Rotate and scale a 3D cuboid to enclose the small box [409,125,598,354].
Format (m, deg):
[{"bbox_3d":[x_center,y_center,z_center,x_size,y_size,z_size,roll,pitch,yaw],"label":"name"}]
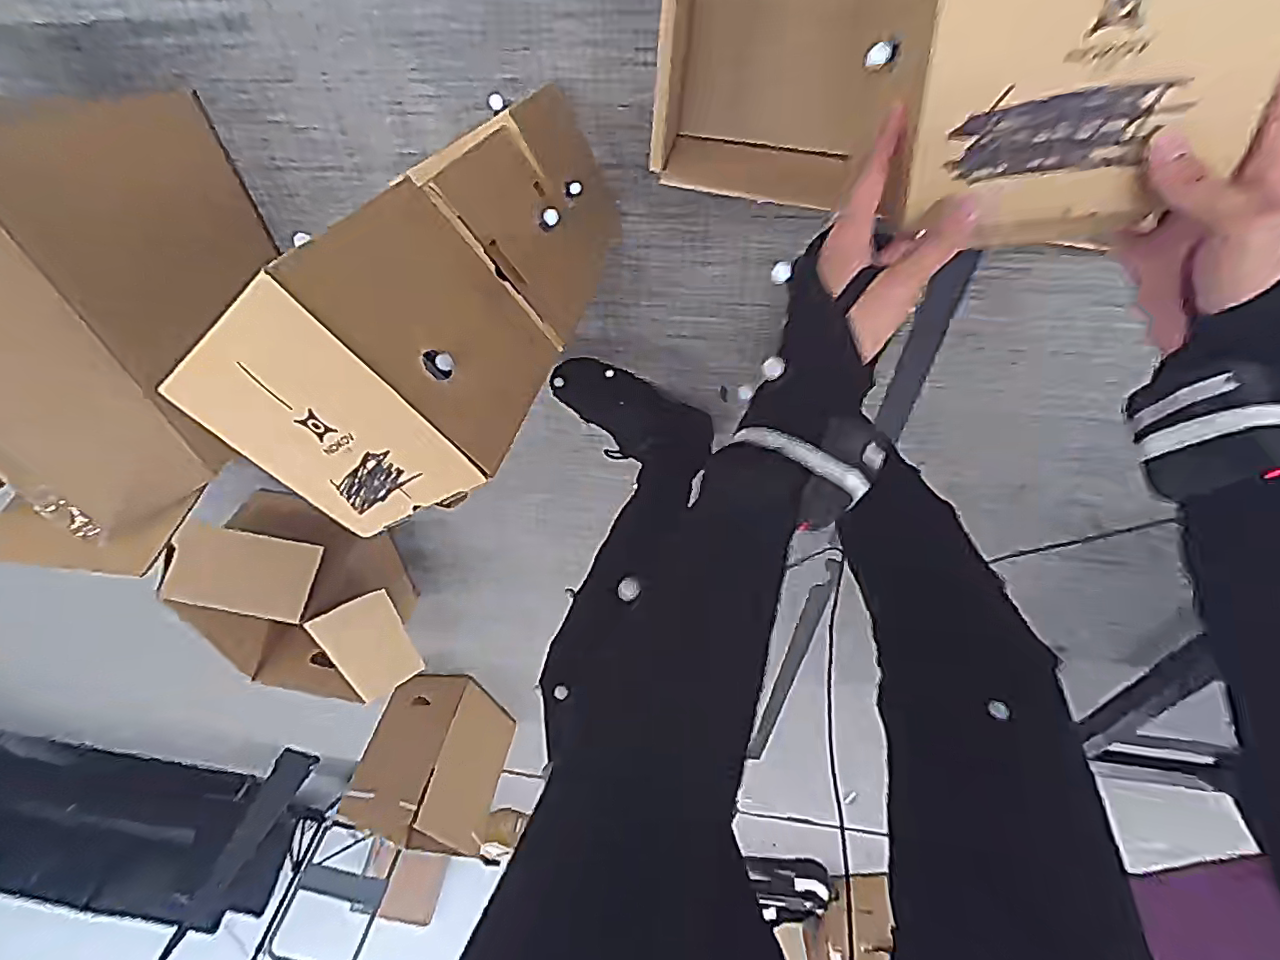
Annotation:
[{"bbox_3d":[-0.166,-0.205,0.534,0.179,0.176,0.168,-20,127,30],"label":"small box"}]

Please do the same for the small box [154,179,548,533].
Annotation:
[{"bbox_3d":[-0.199,-0.090,0.420,0.168,0.176,0.179,-21,126,31],"label":"small box"}]

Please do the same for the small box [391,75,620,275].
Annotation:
[{"bbox_3d":[-0.140,-0.332,0.636,0.168,0.176,0.179,-12,130,24],"label":"small box"}]
